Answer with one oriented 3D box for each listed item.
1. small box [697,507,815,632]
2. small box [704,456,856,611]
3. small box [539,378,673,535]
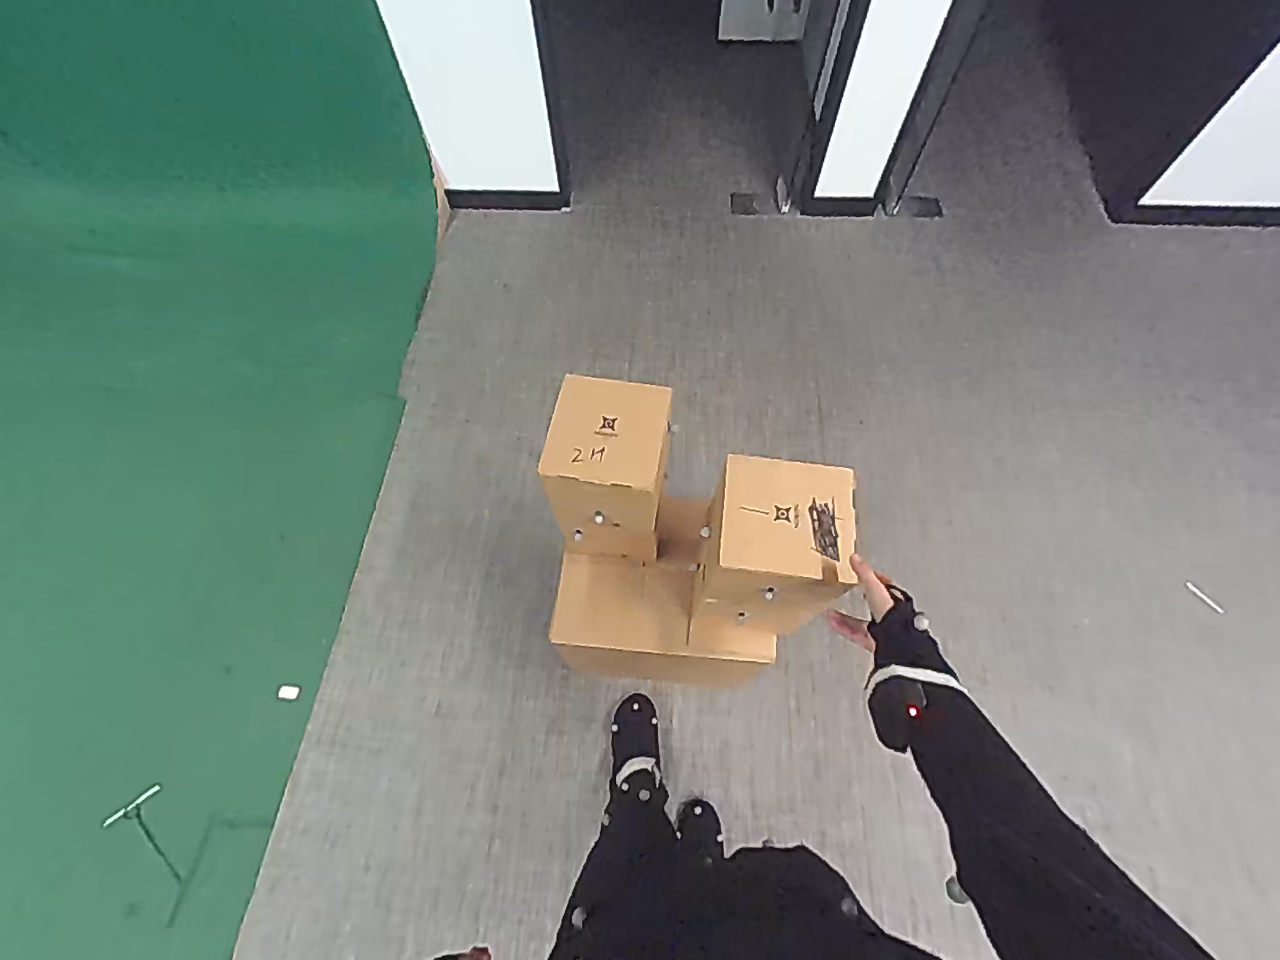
[{"bbox_3d":[0.192,0.159,0.927,0.179,0.176,0.168,6,66,5],"label":"small box"},{"bbox_3d":[0.194,0.085,0.781,0.179,0.176,0.168,7,64,4],"label":"small box"},{"bbox_3d":[-0.045,-0.032,0.848,0.168,0.176,0.179,8,64,6],"label":"small box"}]
